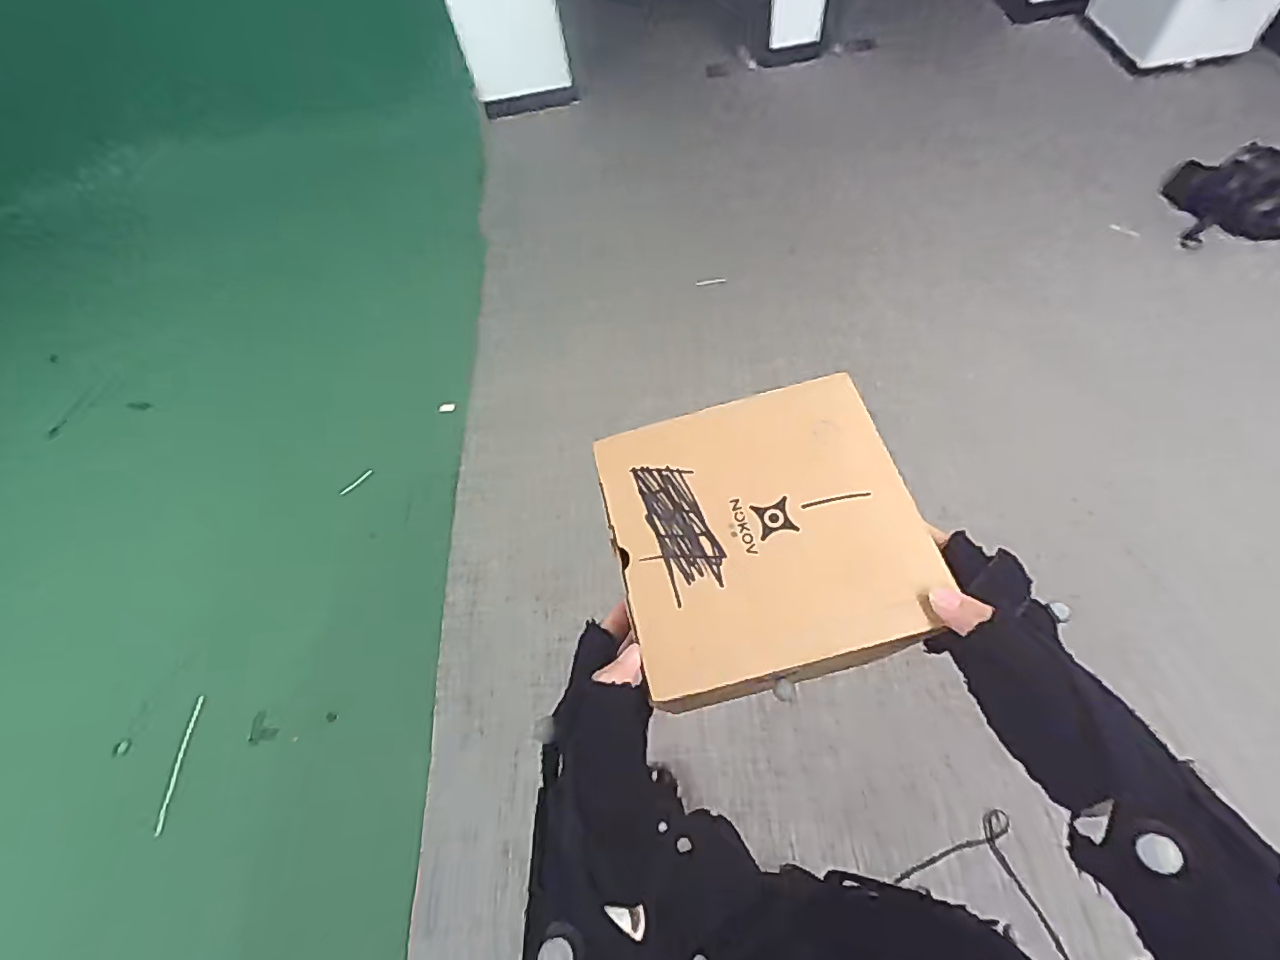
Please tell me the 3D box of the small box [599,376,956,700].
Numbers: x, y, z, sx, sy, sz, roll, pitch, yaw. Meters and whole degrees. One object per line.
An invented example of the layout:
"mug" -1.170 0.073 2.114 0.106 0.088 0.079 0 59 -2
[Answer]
"small box" 0.083 0.056 0.400 0.179 0.176 0.168 -15 64 1
